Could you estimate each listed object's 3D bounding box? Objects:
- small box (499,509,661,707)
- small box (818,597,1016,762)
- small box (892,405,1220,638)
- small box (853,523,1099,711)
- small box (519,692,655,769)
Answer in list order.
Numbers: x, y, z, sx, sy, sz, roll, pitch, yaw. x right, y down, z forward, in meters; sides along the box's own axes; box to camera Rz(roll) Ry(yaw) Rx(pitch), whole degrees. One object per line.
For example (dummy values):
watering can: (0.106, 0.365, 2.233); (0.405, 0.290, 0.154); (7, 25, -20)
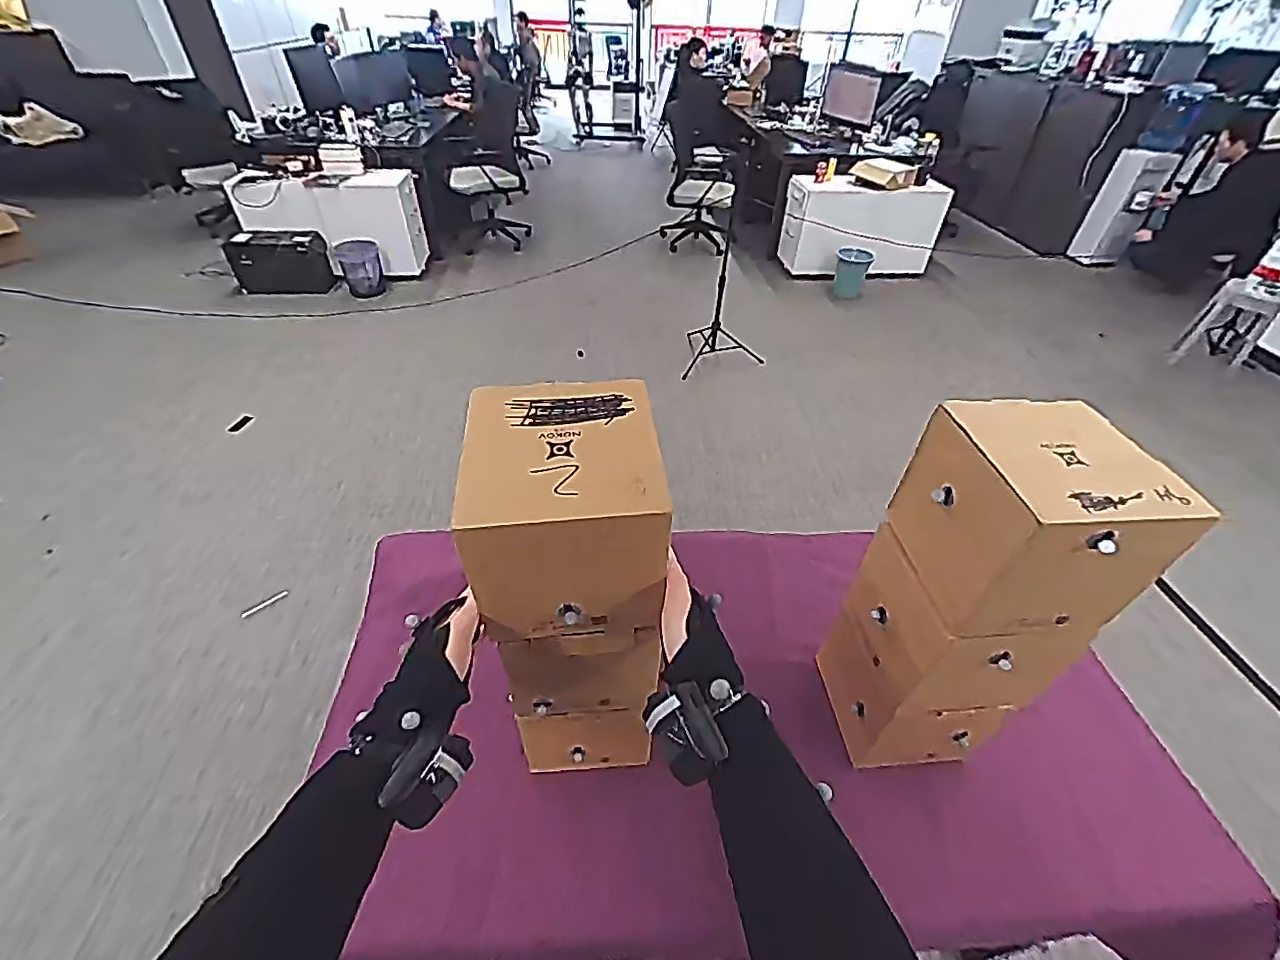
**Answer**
small box: (-0.068, 0.157, 0.650); (0.168, 0.176, 0.179); (-2, 42, -6)
small box: (0.376, 0.286, 0.773); (0.168, 0.176, 0.179); (-1, 42, -5)
small box: (0.391, 0.040, 0.556); (0.168, 0.176, 0.179); (-1, 42, -5)
small box: (0.381, 0.166, 0.661); (0.179, 0.176, 0.168); (-1, 43, -5)
small box: (-0.073, 0.279, 0.759); (0.168, 0.176, 0.179); (-2, 43, -5)
